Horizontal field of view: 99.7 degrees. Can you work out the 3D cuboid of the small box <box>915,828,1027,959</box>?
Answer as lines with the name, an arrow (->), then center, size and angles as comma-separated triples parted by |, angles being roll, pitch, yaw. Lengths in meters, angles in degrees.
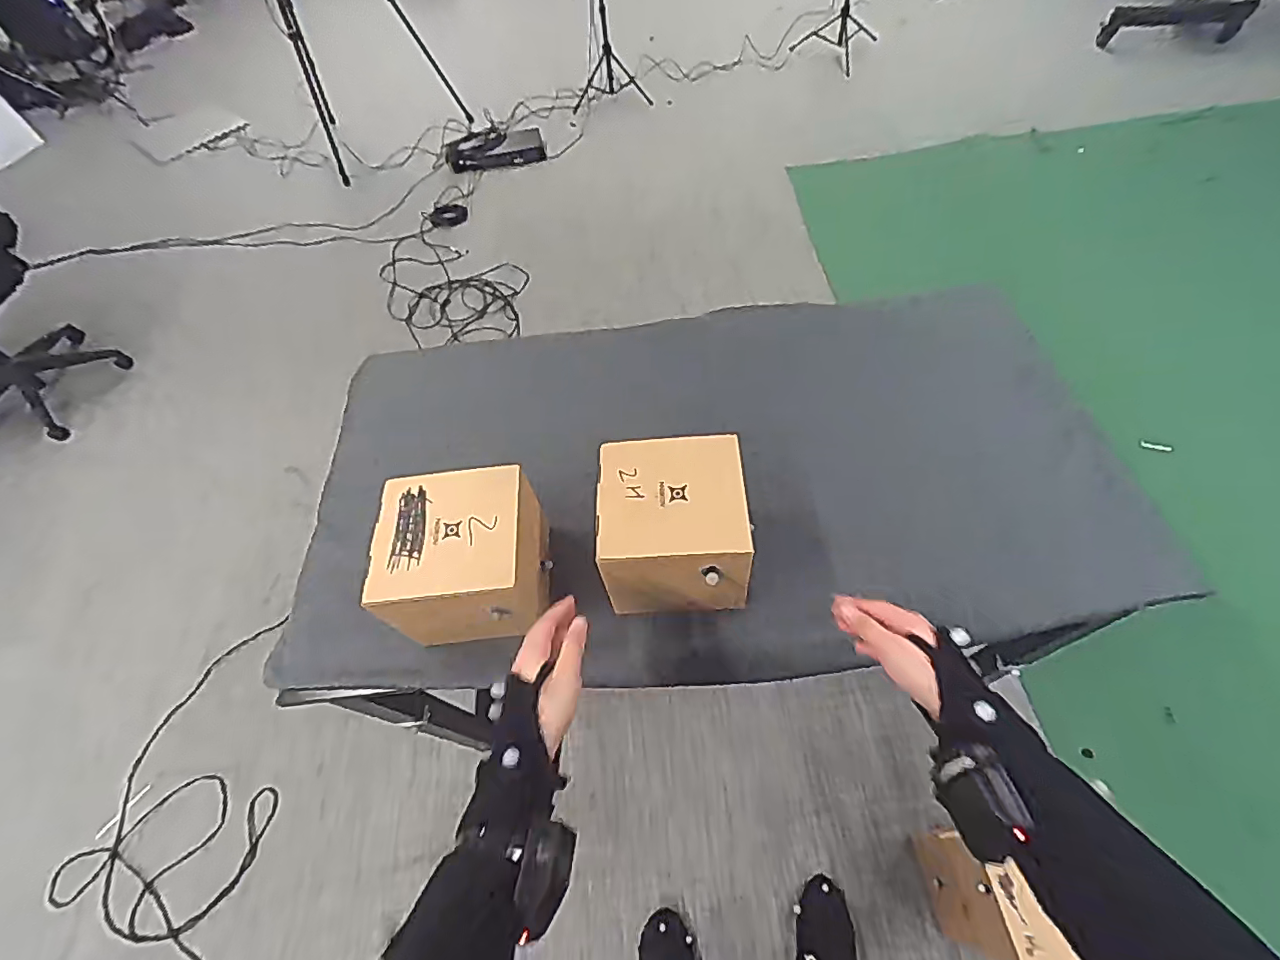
small box -> 0.663, 0.781, 1.038 | 0.168, 0.176, 0.179 | -9, 56, 1

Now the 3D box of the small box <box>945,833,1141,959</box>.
small box -> 0.651, 0.695, 0.898 | 0.179, 0.176, 0.168 | -7, 58, 2
